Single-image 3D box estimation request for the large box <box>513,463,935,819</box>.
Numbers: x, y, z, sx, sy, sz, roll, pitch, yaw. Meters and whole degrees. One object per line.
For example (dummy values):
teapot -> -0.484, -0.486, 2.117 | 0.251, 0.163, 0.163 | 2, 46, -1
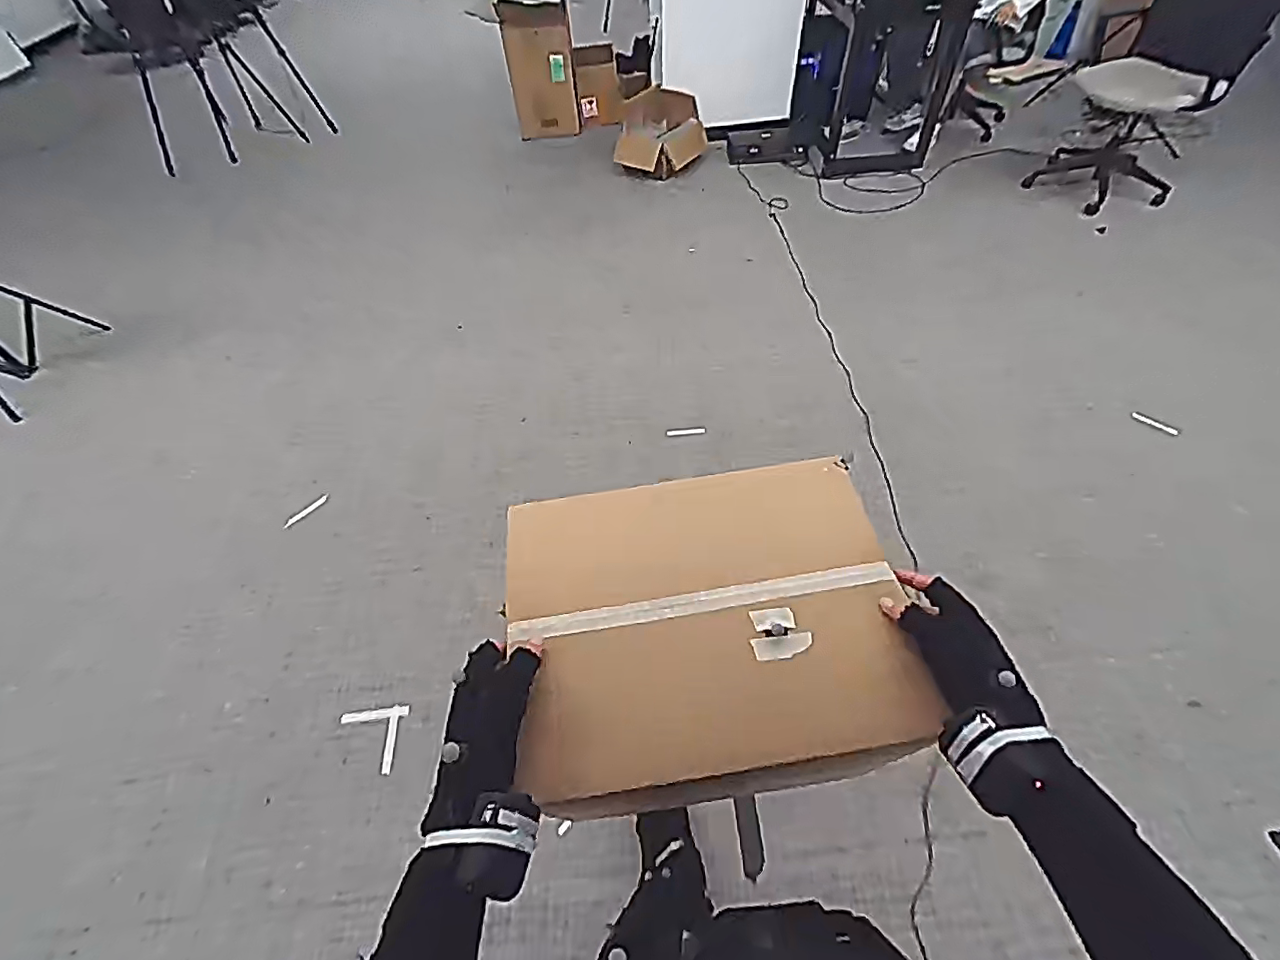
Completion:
large box -> 0.070, 0.219, 0.706 | 0.408, 0.320, 0.320 | -9, 55, -2
